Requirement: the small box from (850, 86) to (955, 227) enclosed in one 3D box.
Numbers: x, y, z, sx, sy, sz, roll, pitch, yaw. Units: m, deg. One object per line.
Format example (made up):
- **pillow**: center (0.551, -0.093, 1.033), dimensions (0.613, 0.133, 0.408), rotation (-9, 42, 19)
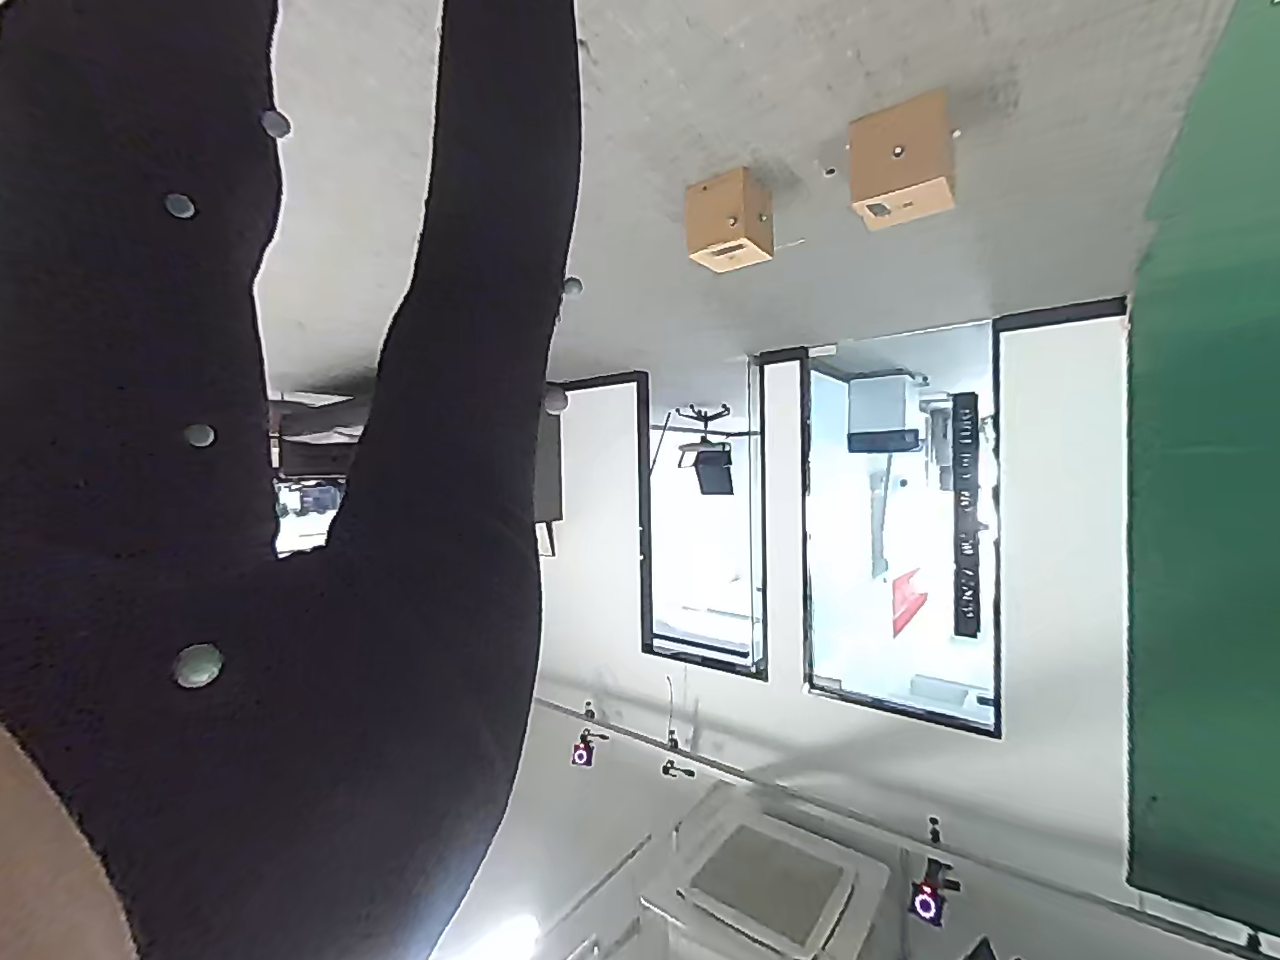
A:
- **small box**: center (0.546, -0.659, 1.120), dimensions (0.179, 0.176, 0.168), rotation (-2, -178, 36)
